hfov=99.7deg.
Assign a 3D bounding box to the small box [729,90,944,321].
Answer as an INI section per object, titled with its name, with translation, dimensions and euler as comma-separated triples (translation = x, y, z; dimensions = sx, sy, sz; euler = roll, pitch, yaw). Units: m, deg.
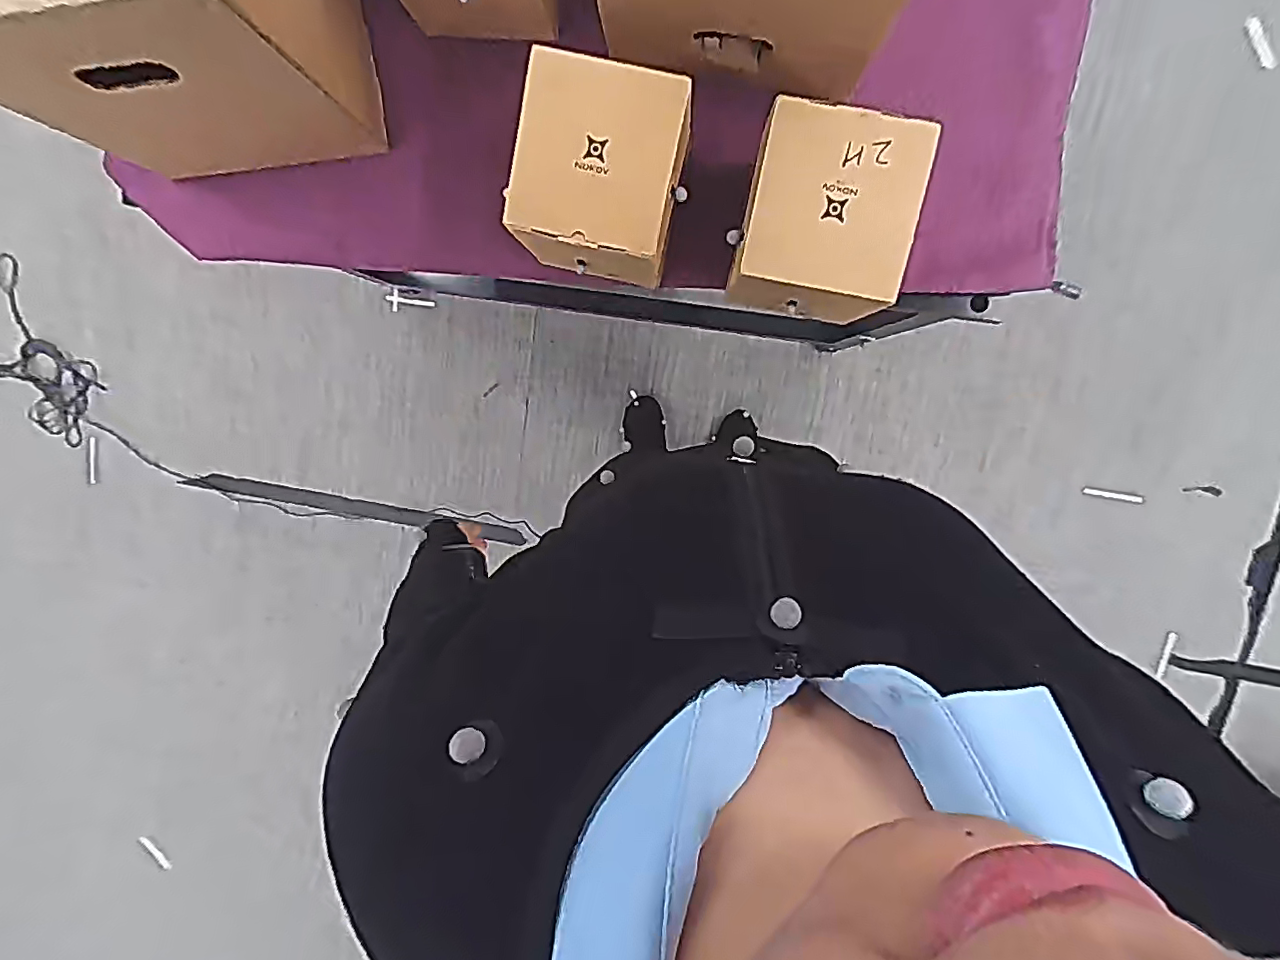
[small box]
translation = 0.202, -0.290, 0.614
dimensions = 0.168, 0.176, 0.179
euler = 12, 98, 1
